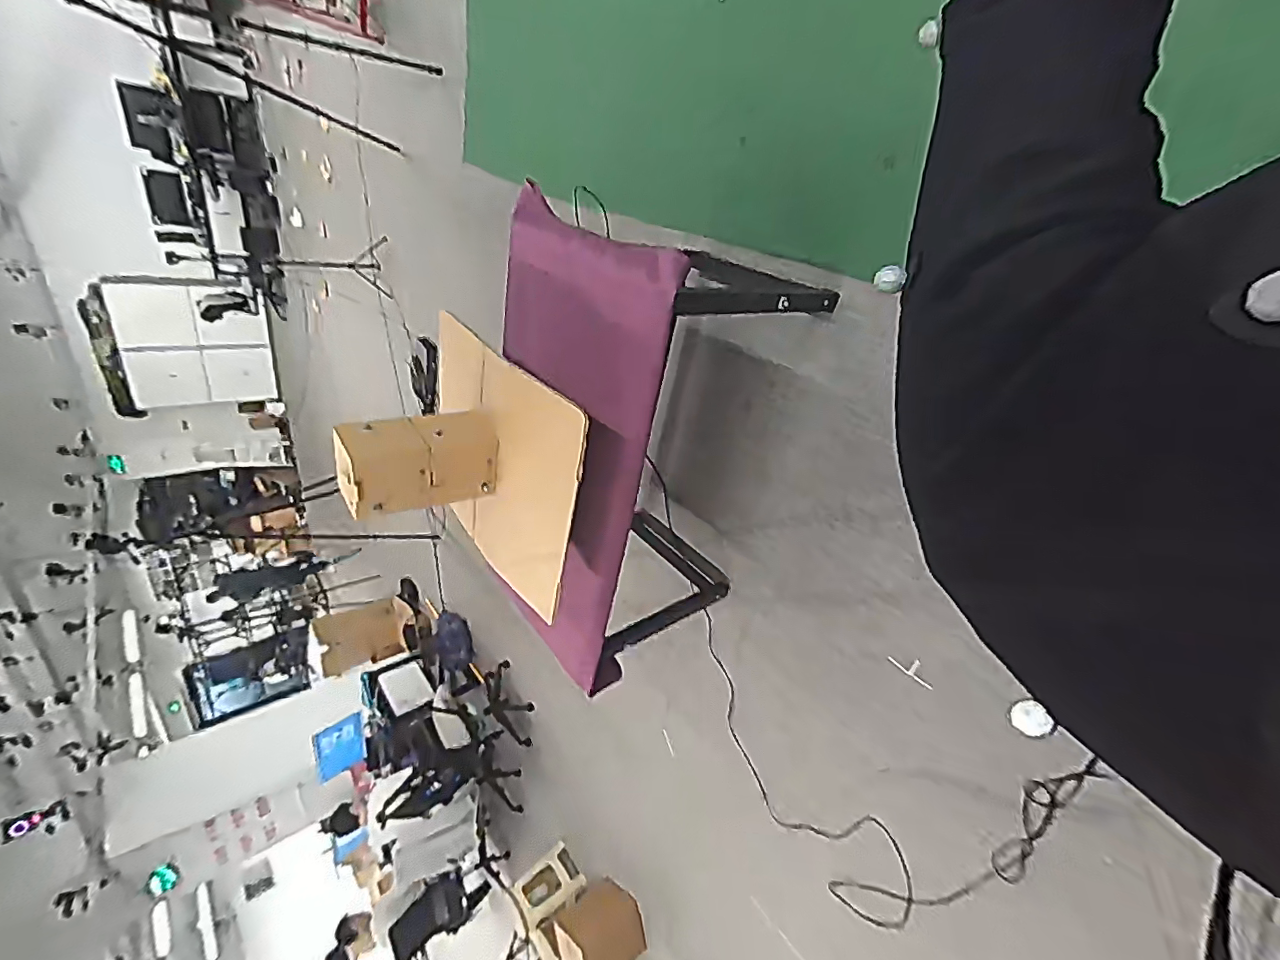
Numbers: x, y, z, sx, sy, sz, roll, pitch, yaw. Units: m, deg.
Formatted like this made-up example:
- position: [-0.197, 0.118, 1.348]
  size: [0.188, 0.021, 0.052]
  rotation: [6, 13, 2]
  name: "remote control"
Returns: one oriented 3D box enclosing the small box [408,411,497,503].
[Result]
- position: [-0.477, -0.068, 1.381]
  size: [0.179, 0.176, 0.168]
  rotation: [41, 130, 38]
  name: "small box"
